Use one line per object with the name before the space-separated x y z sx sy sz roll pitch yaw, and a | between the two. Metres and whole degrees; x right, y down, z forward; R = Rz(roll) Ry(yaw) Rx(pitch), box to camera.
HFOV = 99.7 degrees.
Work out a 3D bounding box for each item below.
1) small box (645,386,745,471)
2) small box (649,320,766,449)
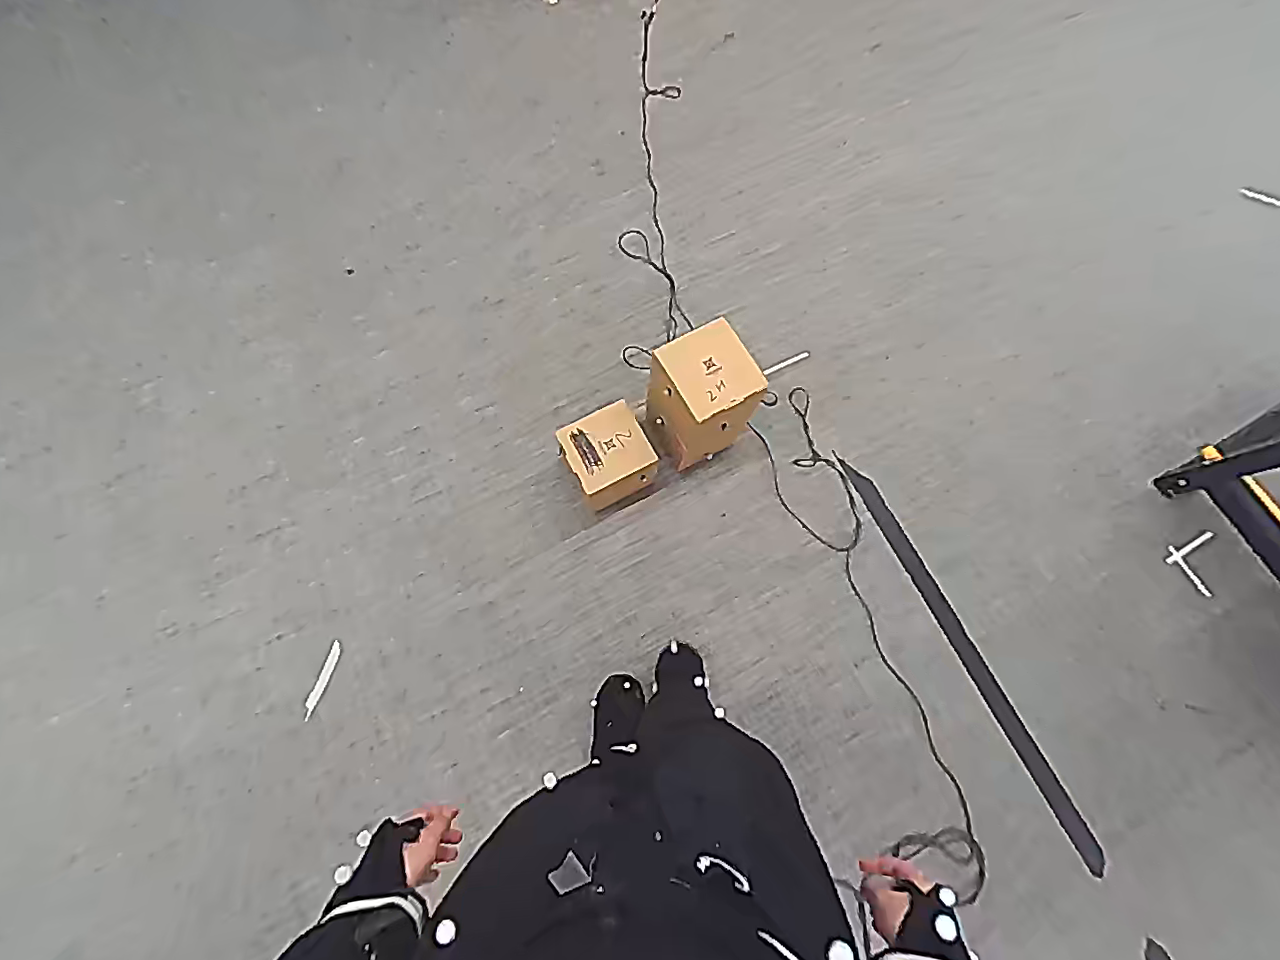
small box | 0.122 -0.147 1.286 0.168 0.176 0.179 -26 78 -9
small box | 0.129 -0.192 1.127 0.168 0.176 0.179 -28 78 -9
